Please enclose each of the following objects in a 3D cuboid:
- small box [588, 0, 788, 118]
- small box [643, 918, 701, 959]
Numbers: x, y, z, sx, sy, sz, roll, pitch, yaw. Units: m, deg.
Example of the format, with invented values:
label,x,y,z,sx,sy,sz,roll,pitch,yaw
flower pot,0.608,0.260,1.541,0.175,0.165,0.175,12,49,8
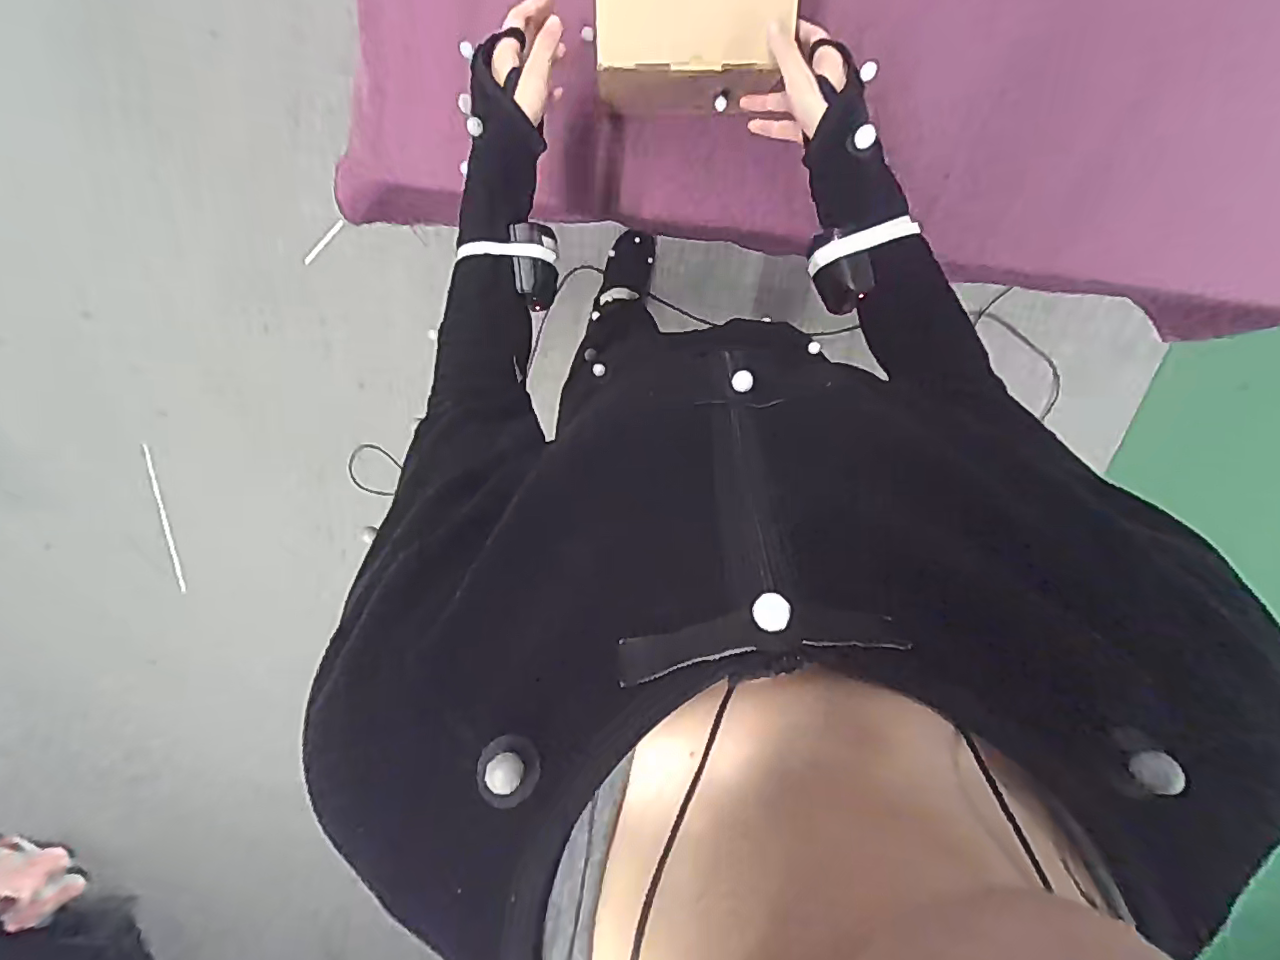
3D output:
label,x,y,z,sx,sy,sz,roll,pitch,yaw
small box,0.037,-0.450,0.495,0.168,0.176,0.179,-1,112,-3
small box,0.119,1.762,1.991,0.179,0.176,0.168,17,110,-9
